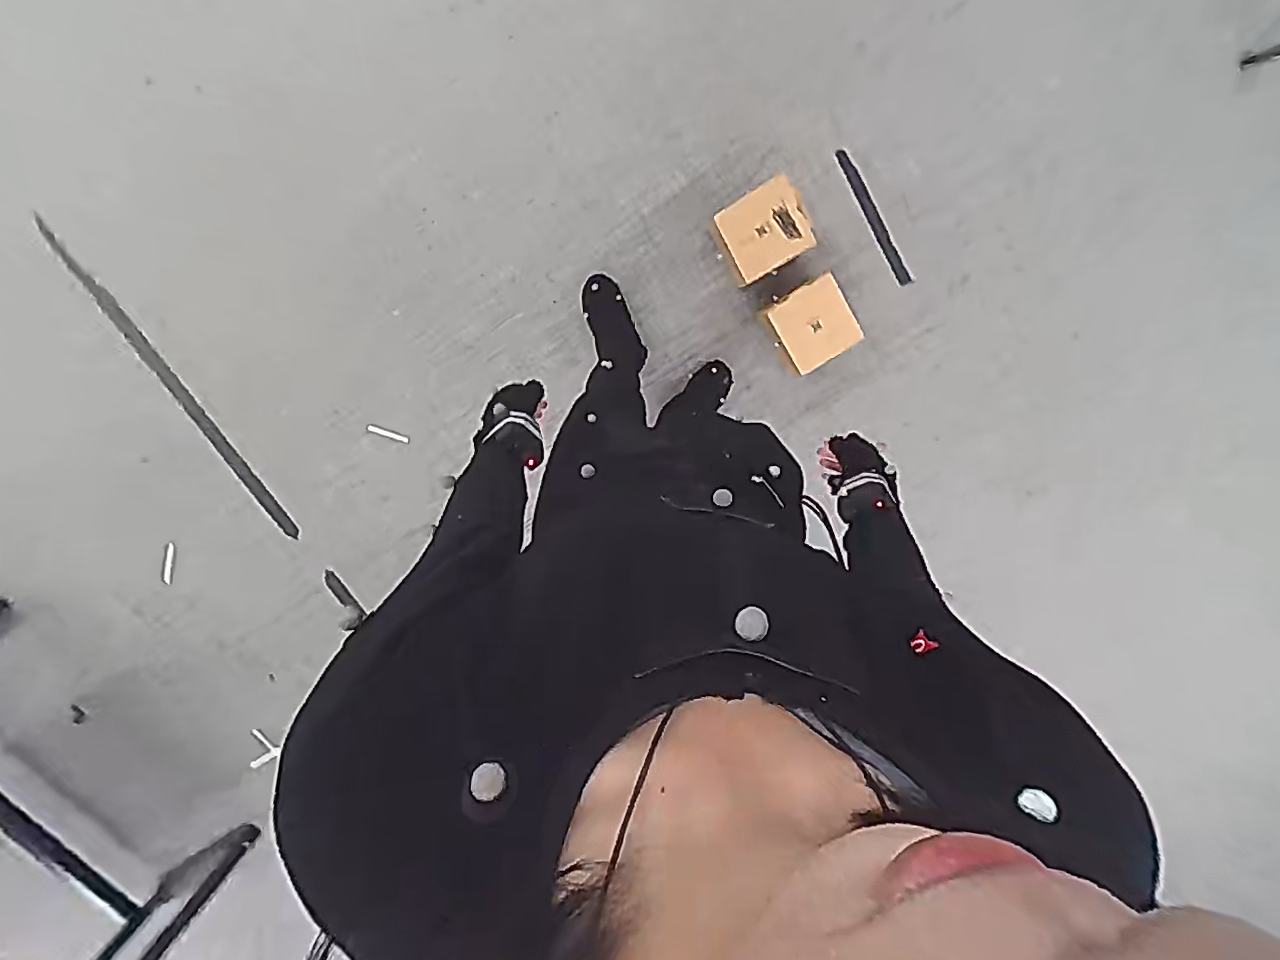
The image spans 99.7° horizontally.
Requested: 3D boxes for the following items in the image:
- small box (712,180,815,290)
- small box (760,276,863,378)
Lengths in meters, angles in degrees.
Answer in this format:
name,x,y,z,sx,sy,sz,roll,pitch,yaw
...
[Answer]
name,x,y,z,sx,sy,sz,roll,pitch,yaw
small box,0.284,-0.569,1.279,0.179,0.176,0.168,-28,102,11
small box,0.412,-0.374,1.329,0.168,0.176,0.179,-31,103,13
